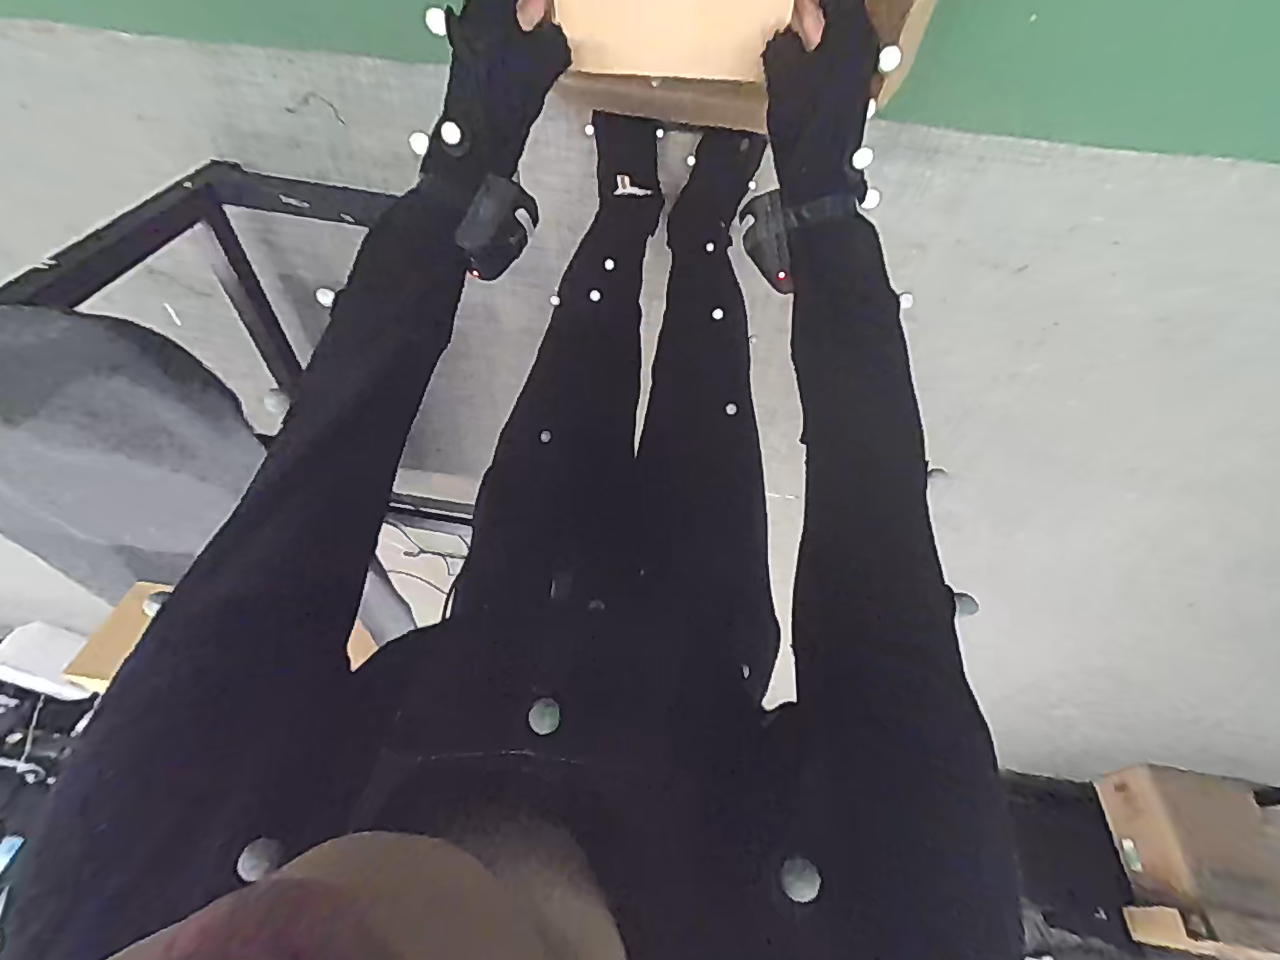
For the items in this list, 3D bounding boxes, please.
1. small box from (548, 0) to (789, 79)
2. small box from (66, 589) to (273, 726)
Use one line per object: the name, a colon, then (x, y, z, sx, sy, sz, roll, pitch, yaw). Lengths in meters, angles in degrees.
small box: (0.029, -0.428, 0.413, 0.179, 0.176, 0.168, 5, 137, 3)
small box: (-0.793, 0.306, 0.938, 0.168, 0.176, 0.179, 7, 141, 4)
